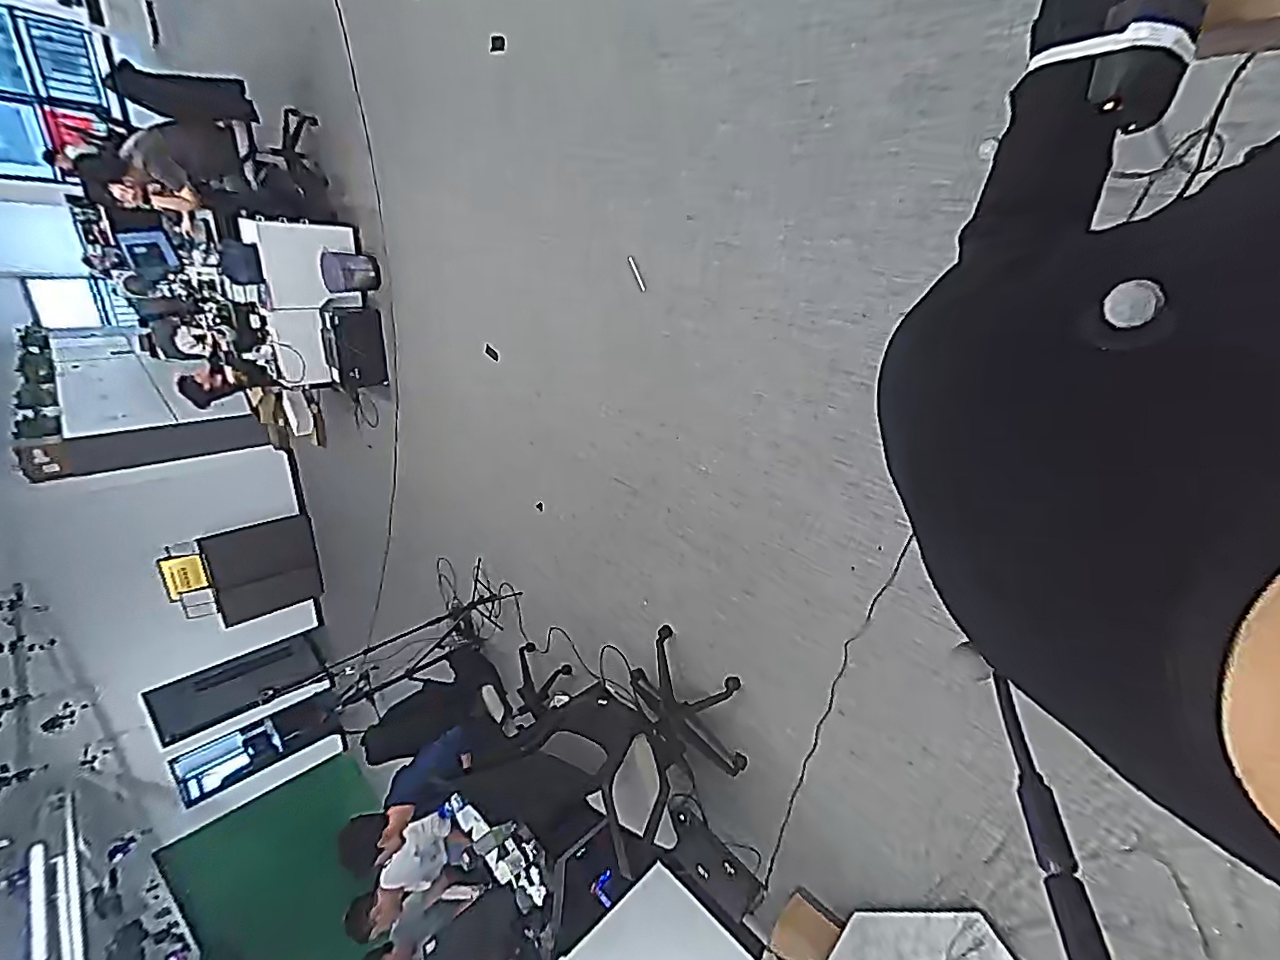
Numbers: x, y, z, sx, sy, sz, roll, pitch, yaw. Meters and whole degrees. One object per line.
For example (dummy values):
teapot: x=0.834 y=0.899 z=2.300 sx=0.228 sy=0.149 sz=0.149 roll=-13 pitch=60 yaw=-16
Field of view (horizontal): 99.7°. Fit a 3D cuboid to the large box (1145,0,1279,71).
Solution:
large box: x=0.594 y=-0.447 z=0.286 sx=0.408 sy=0.320 sz=0.320 roll=22 pitch=131 yaw=38
